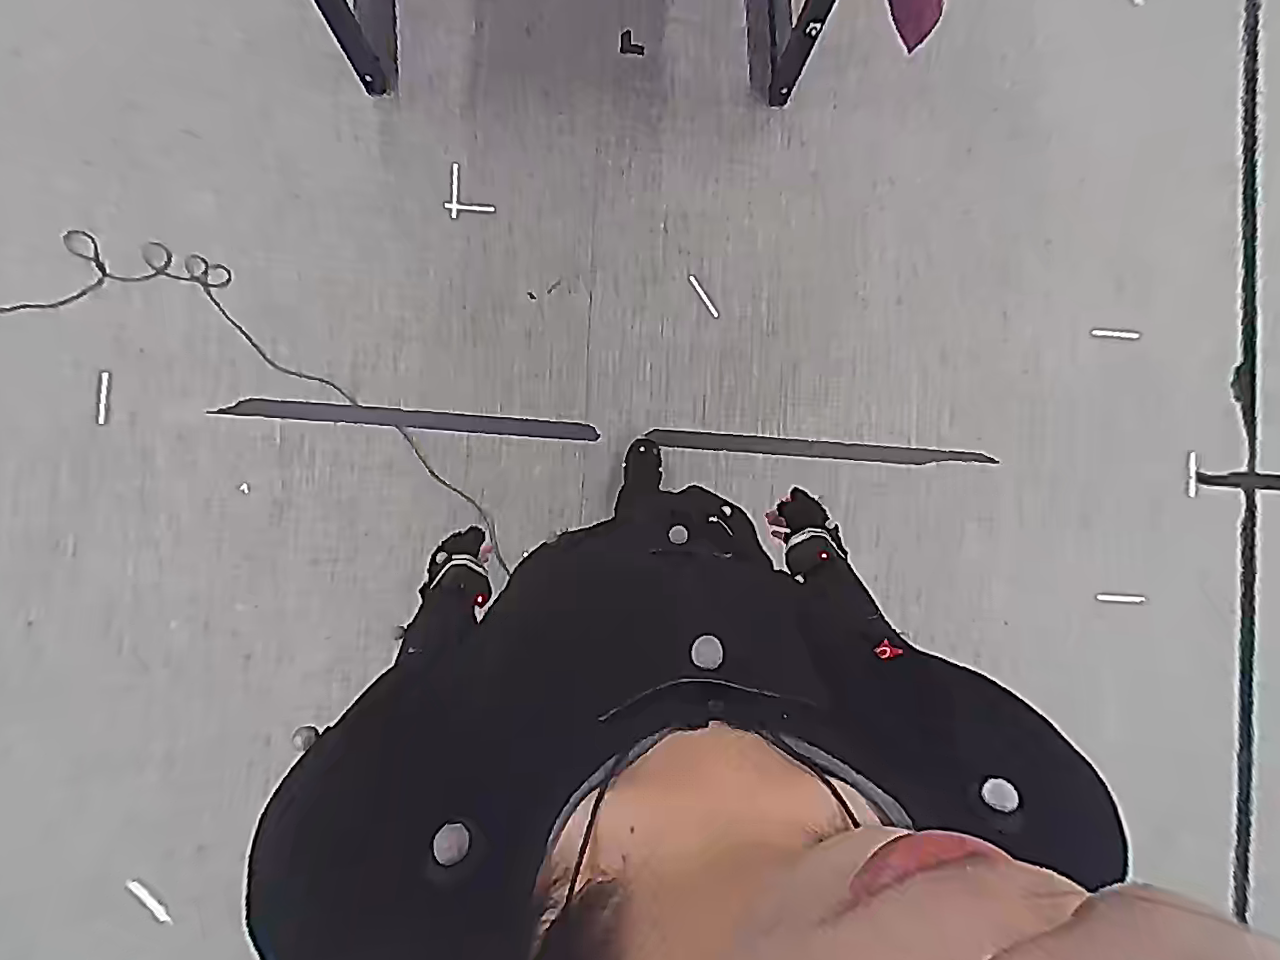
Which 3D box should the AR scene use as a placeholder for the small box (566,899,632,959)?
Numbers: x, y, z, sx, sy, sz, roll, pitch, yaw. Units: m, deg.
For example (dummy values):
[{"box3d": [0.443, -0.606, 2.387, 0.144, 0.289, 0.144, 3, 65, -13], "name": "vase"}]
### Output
[{"box3d": [-0.107, 1.237, 1.402, 0.168, 0.176, 0.179, 1, 87, -4], "name": "small box"}]
